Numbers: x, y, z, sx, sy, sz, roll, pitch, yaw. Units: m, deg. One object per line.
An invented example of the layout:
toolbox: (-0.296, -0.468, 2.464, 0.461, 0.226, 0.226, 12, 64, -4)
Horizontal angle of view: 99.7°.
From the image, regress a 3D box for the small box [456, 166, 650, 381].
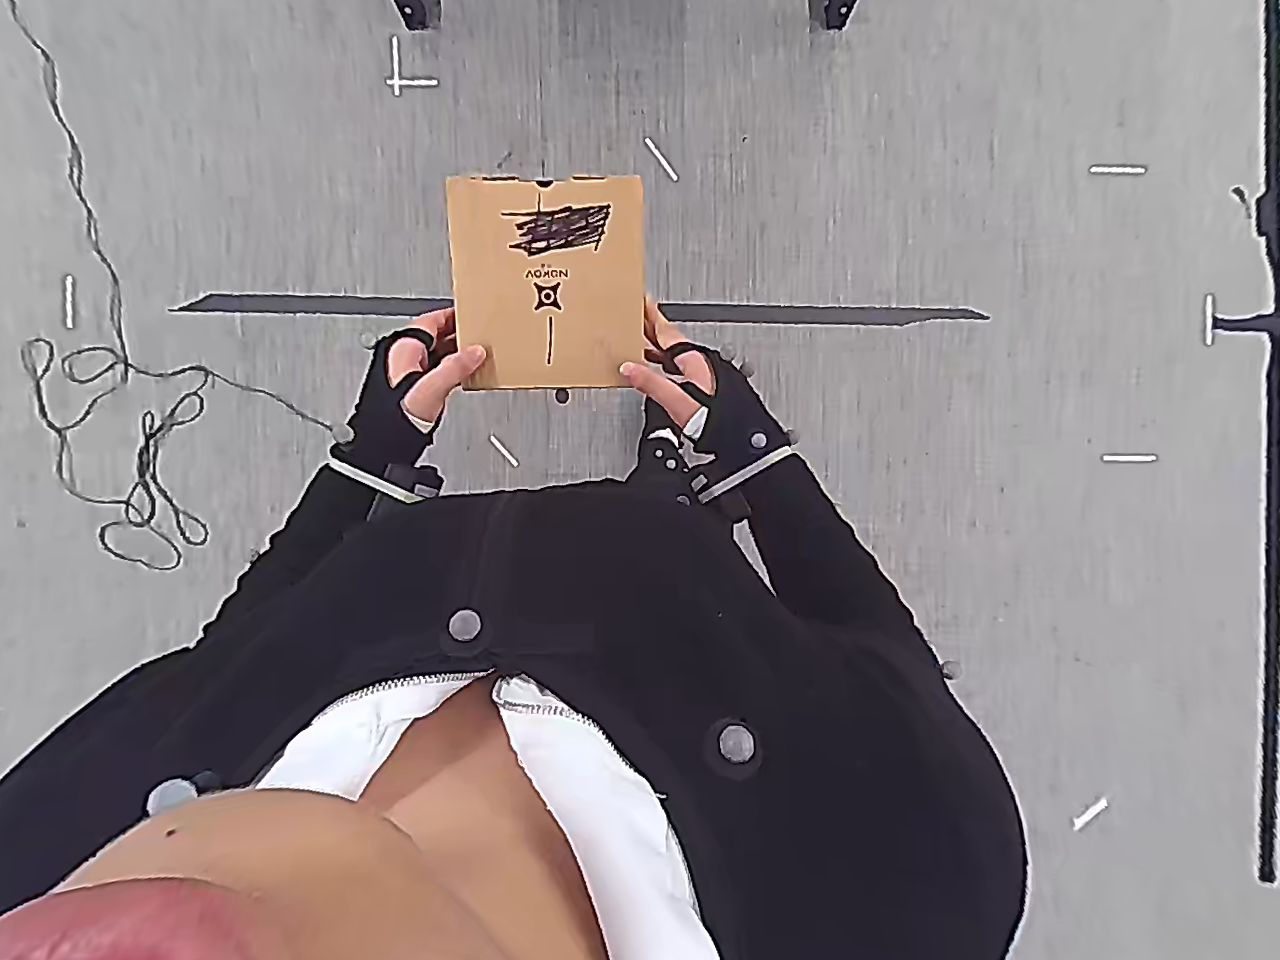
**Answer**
small box: (-0.076, -0.191, 0.547, 0.168, 0.176, 0.179, -1, 100, -1)
